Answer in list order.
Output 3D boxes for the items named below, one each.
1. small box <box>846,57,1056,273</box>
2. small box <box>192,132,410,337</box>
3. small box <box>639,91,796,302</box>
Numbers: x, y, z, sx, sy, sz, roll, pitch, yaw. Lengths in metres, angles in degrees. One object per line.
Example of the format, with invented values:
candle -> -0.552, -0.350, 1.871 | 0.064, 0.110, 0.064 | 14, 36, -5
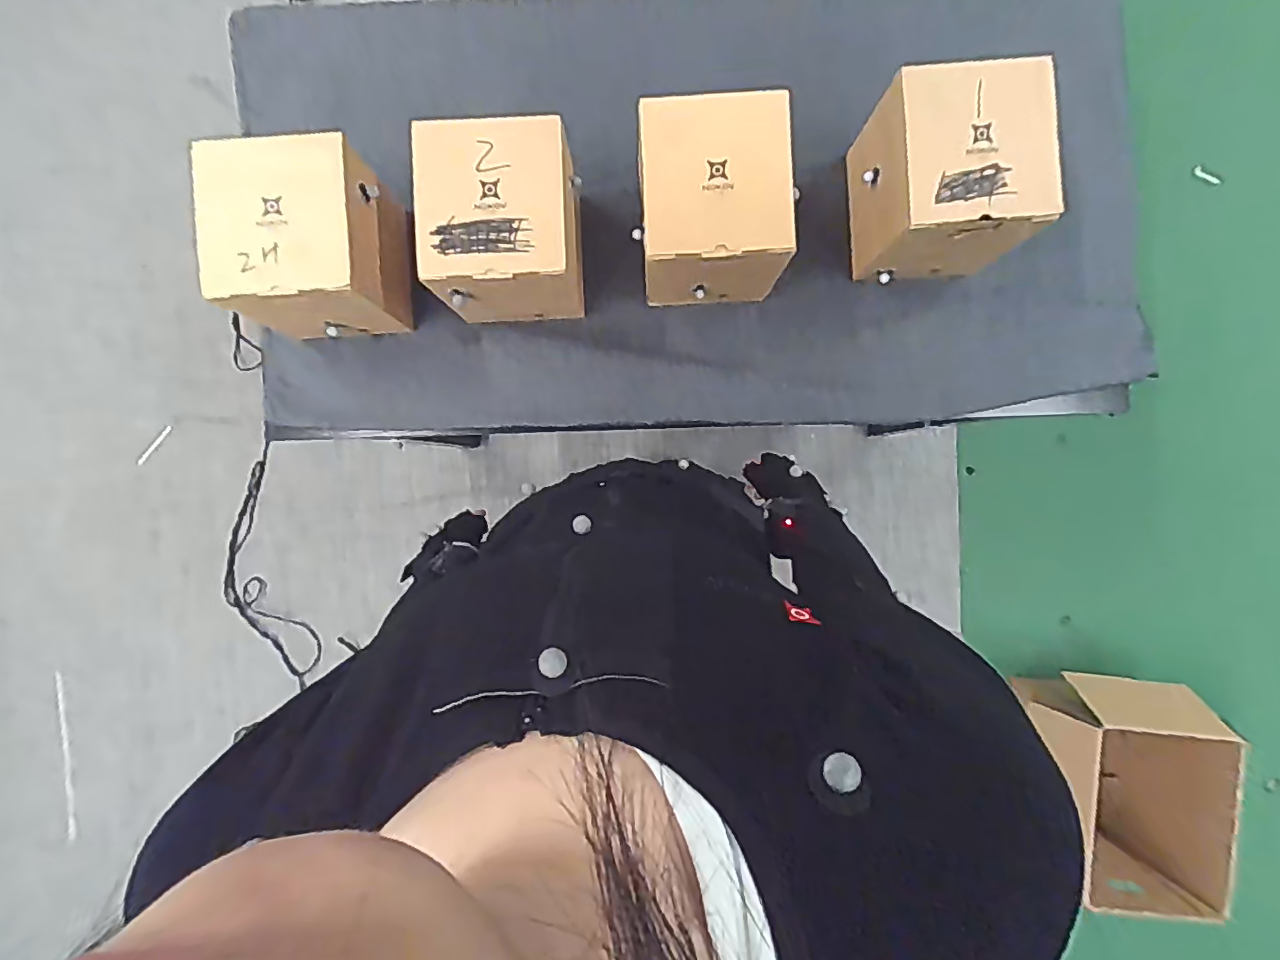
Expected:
small box -> 0.366, -0.367, 0.665 | 0.168, 0.176, 0.179 | -4, 91, 0
small box -> -0.400, -0.288, 0.666 | 0.168, 0.176, 0.179 | -4, 90, -1
small box -> 0.085, -0.336, 0.670 | 0.168, 0.176, 0.179 | -4, 92, 0
